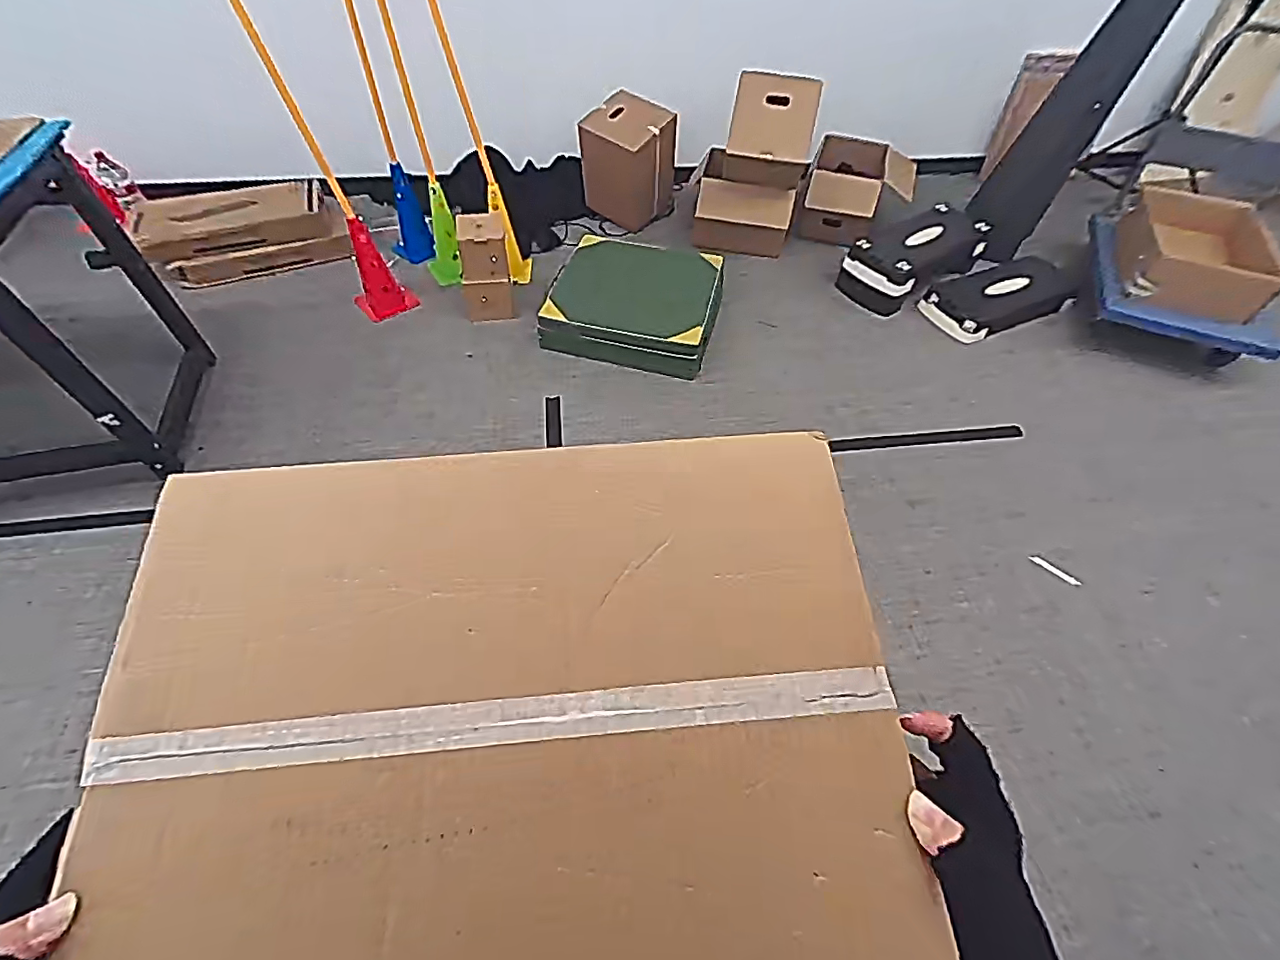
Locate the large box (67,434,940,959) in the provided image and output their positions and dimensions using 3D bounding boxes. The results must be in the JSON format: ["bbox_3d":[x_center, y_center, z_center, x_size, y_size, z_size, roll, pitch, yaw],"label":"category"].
[{"bbox_3d":[-0.074,0.185,0.427,0.408,0.320,0.320,-4,67,-3],"label":"large box"}]
